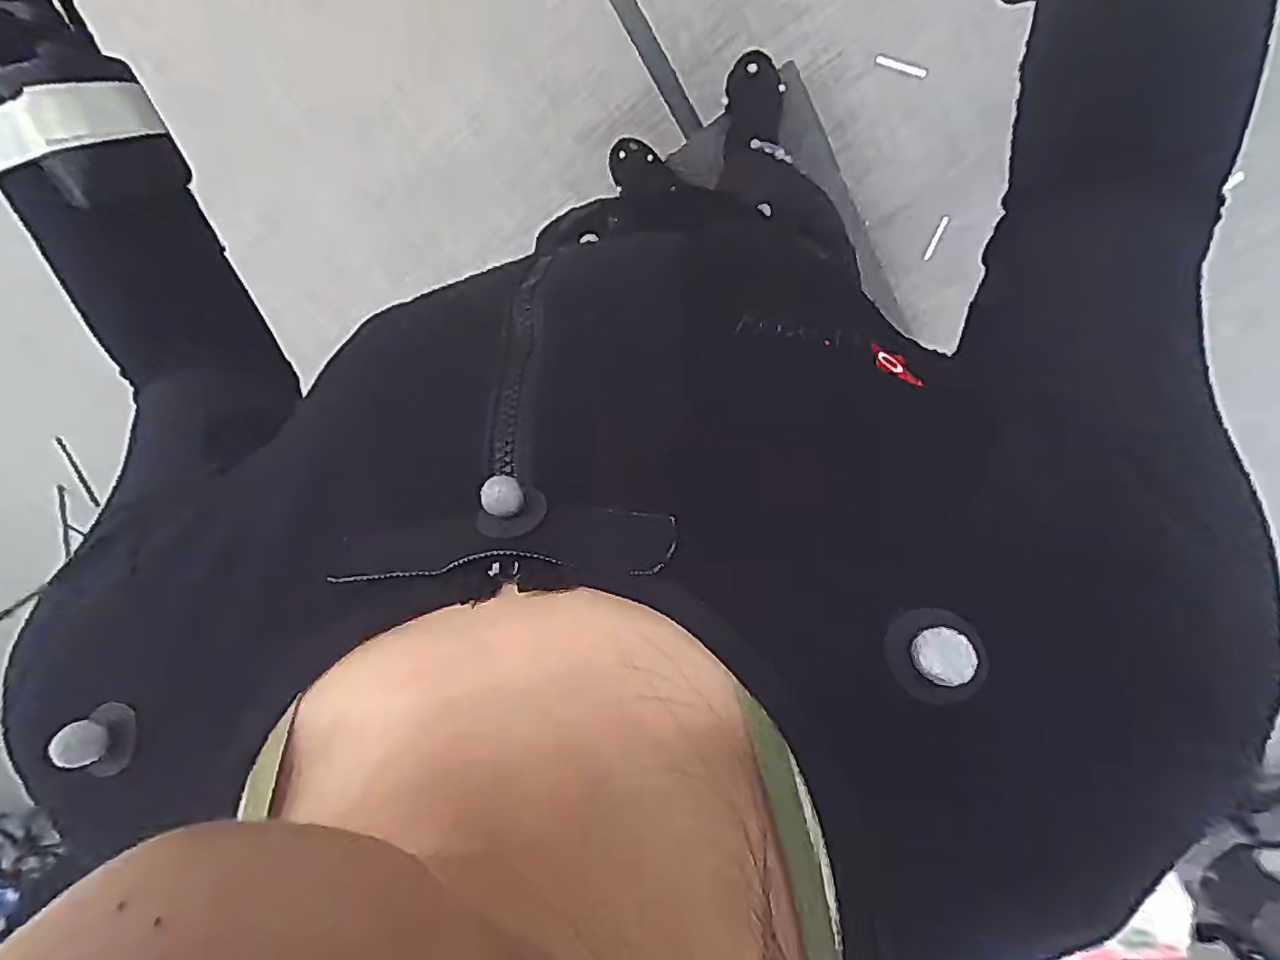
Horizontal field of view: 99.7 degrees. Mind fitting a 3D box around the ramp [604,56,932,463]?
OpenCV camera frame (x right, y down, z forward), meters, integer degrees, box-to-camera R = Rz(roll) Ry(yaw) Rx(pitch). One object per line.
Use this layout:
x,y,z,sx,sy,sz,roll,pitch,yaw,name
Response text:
0.398,-0.461,1.450,0.509,0.206,0.991,-31,116,23,ramp
